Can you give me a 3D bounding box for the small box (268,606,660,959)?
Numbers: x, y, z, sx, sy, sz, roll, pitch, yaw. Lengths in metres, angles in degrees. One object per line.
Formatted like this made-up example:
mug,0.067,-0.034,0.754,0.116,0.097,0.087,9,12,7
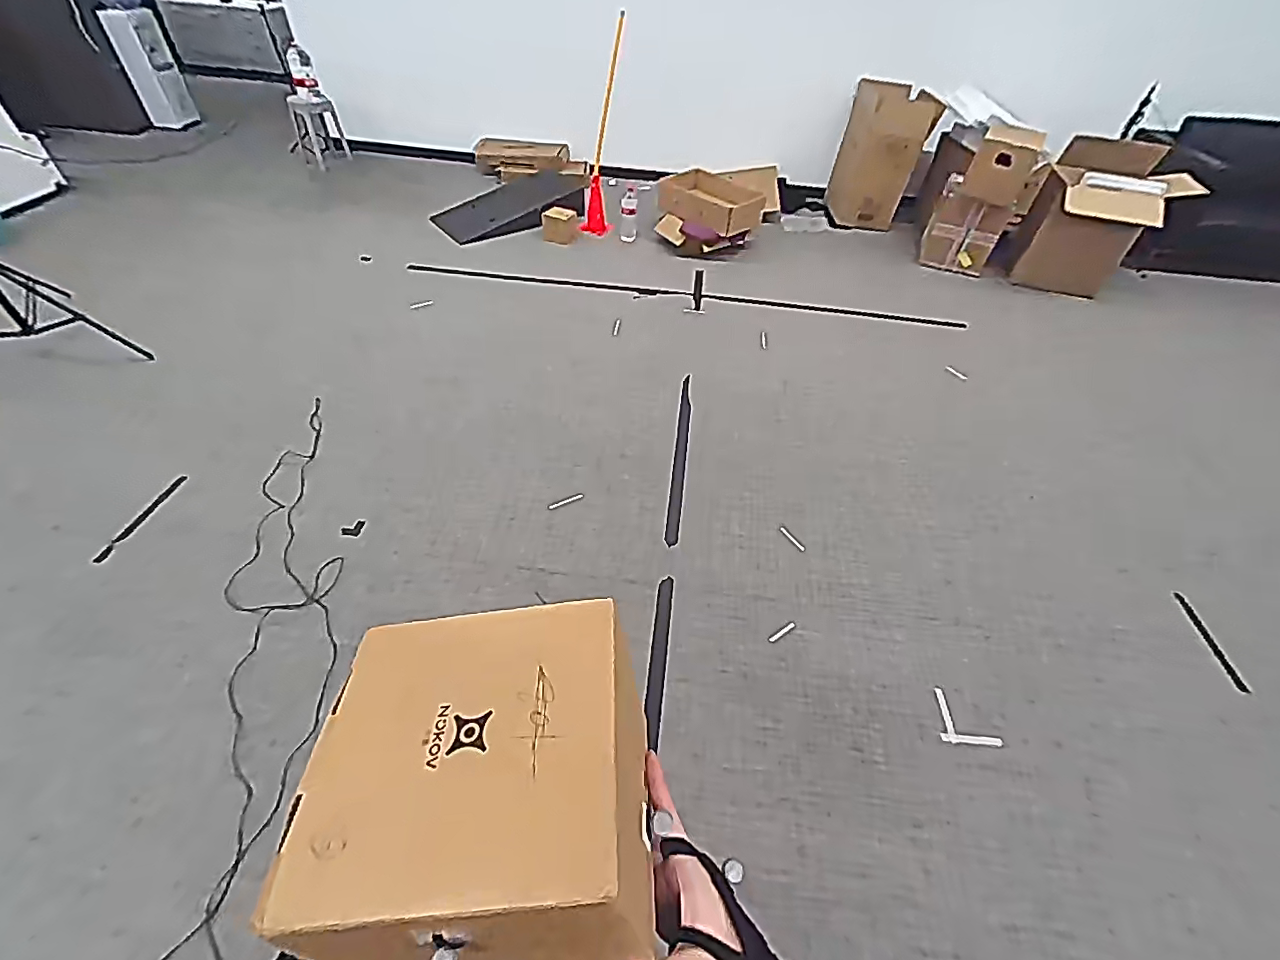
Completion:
small box,-0.087,0.211,0.366,0.179,0.176,0.168,-8,40,3
